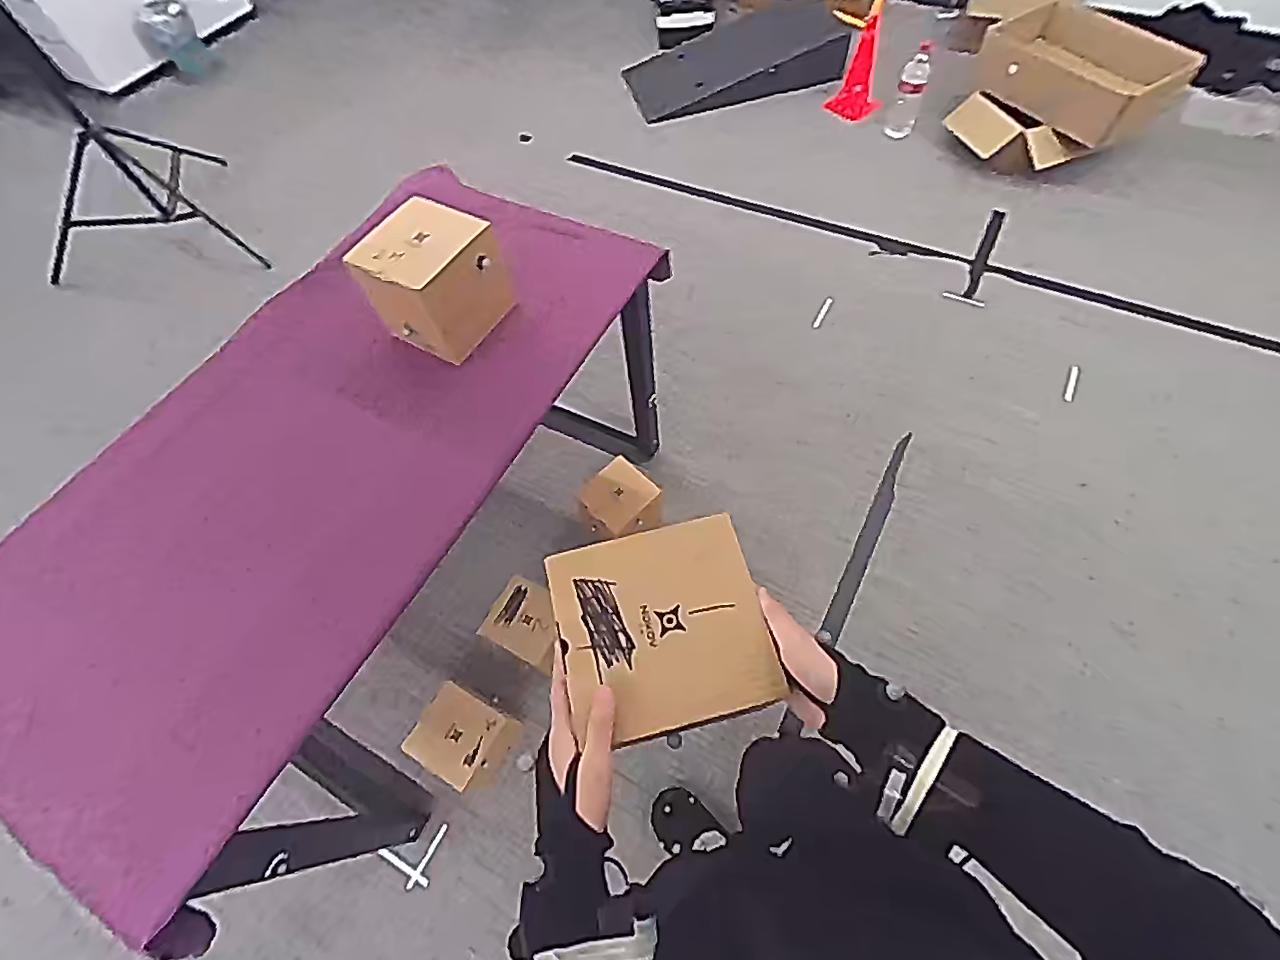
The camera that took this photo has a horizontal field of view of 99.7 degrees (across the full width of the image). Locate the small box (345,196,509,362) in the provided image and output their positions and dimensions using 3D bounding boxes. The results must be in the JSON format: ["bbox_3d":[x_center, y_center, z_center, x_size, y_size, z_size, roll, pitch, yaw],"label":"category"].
[{"bbox_3d":[-0.344,-0.337,0.918,0.168,0.176,0.179,26,67,18],"label":"small box"}]

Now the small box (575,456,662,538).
[{"bbox_3d":[-0.055,0.071,1.511,0.179,0.176,0.168,-42,68,-15],"label":"small box"}]

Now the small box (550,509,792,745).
[{"bbox_3d":[0.024,0.151,0.526,0.179,0.176,0.168,-13,64,-4],"label":"small box"}]

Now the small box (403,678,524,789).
[{"bbox_3d":[-0.399,0.591,1.254,0.179,0.176,0.168,26,66,18],"label":"small box"}]
